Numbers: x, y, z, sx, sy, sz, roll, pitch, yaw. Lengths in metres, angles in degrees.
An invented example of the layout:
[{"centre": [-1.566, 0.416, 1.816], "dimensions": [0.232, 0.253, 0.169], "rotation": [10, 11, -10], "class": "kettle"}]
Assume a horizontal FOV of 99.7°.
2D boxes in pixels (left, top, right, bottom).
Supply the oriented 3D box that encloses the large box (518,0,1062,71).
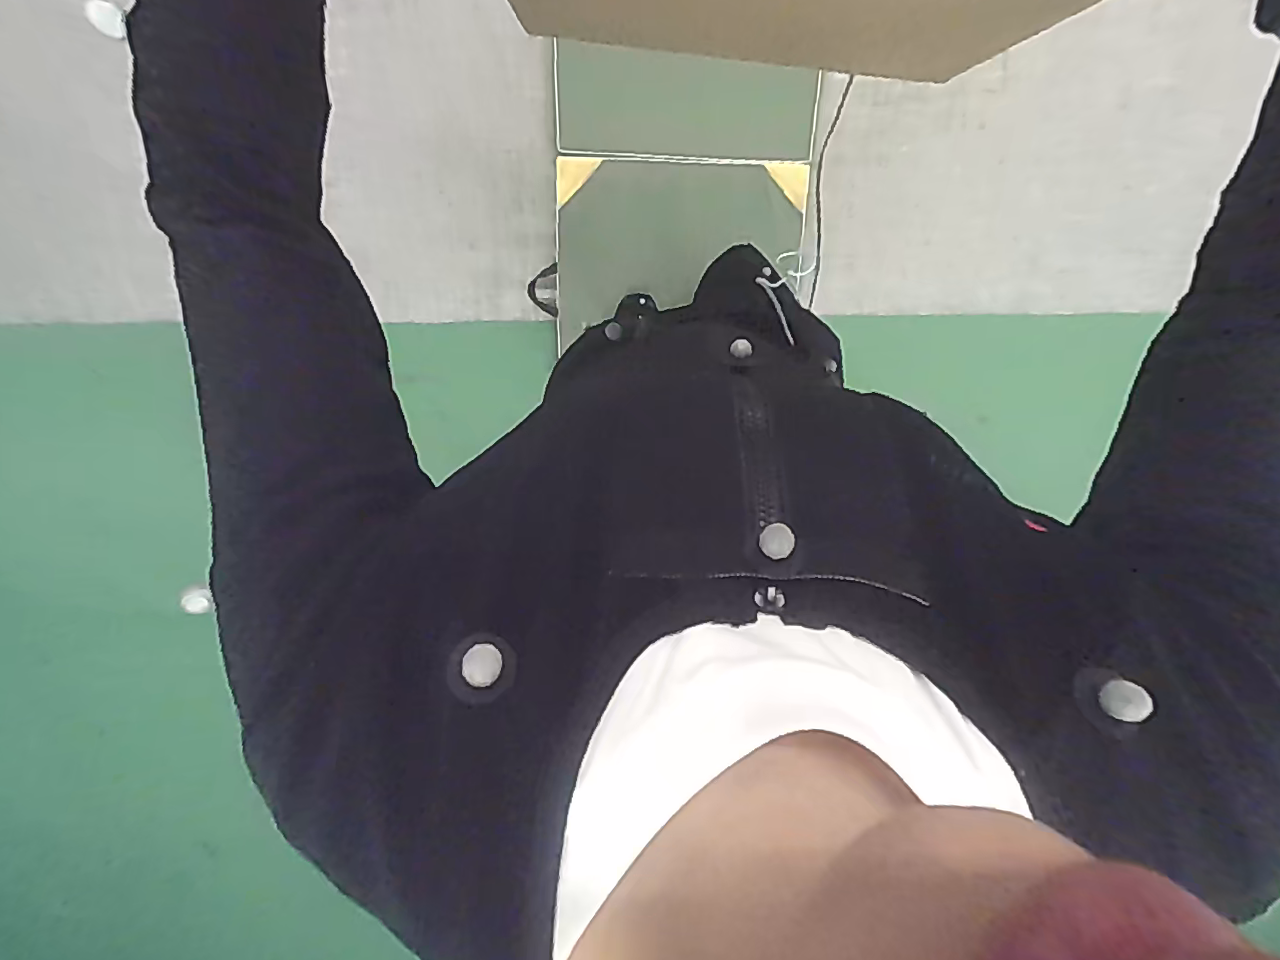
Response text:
[{"centre": [0.107, -0.483, 0.317], "dimensions": [0.408, 0.320, 0.320], "rotation": [4, 114, -3], "class": "large box"}]
